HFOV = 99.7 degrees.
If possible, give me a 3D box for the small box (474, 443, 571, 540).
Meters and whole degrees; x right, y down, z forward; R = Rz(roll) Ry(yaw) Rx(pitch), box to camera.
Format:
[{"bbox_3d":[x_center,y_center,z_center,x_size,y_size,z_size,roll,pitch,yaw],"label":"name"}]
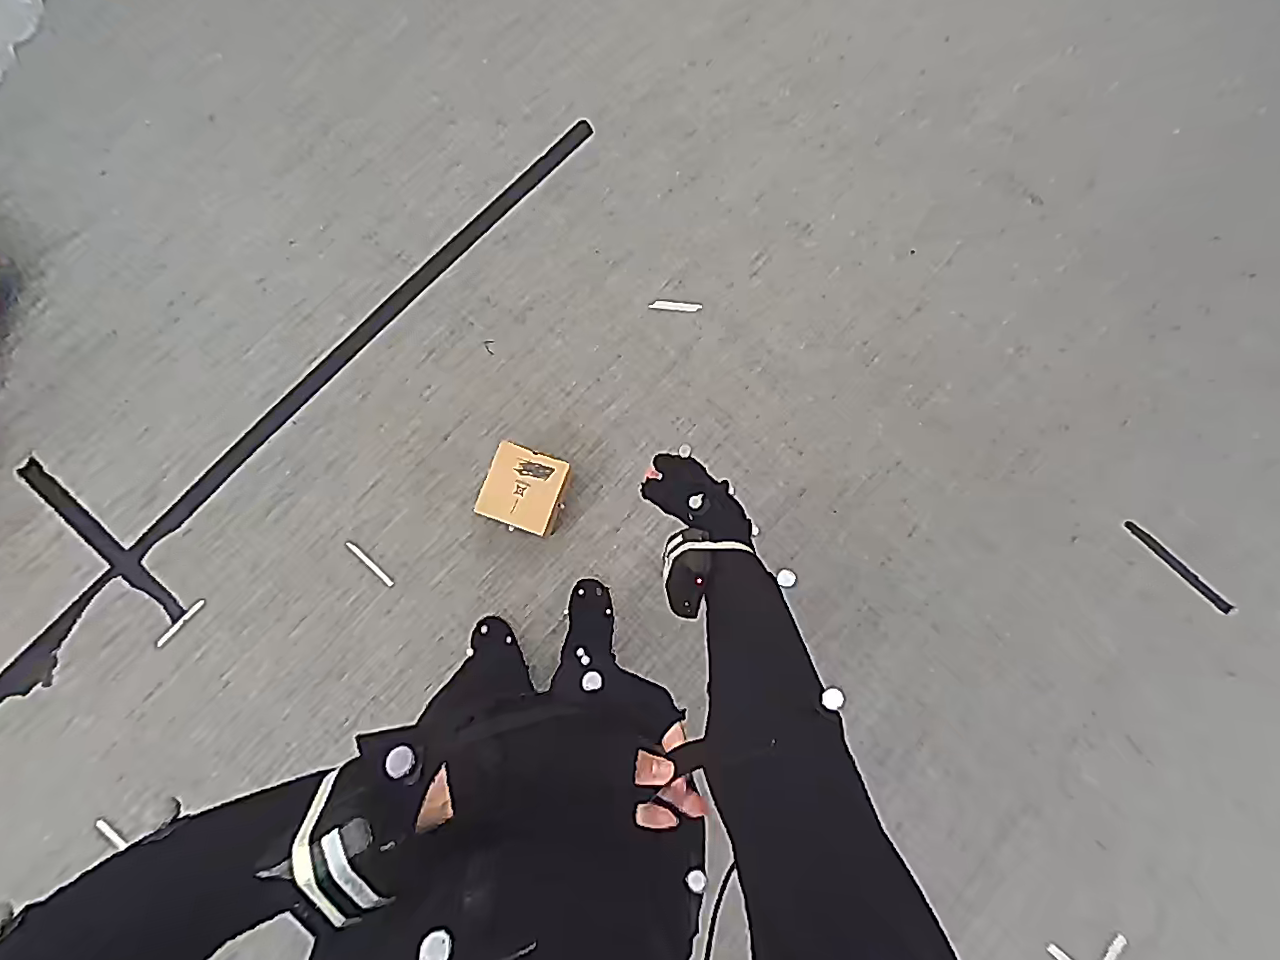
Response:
[{"bbox_3d":[-0.268,0.033,1.280,0.168,0.176,0.179,20,83,-1],"label":"small box"}]
